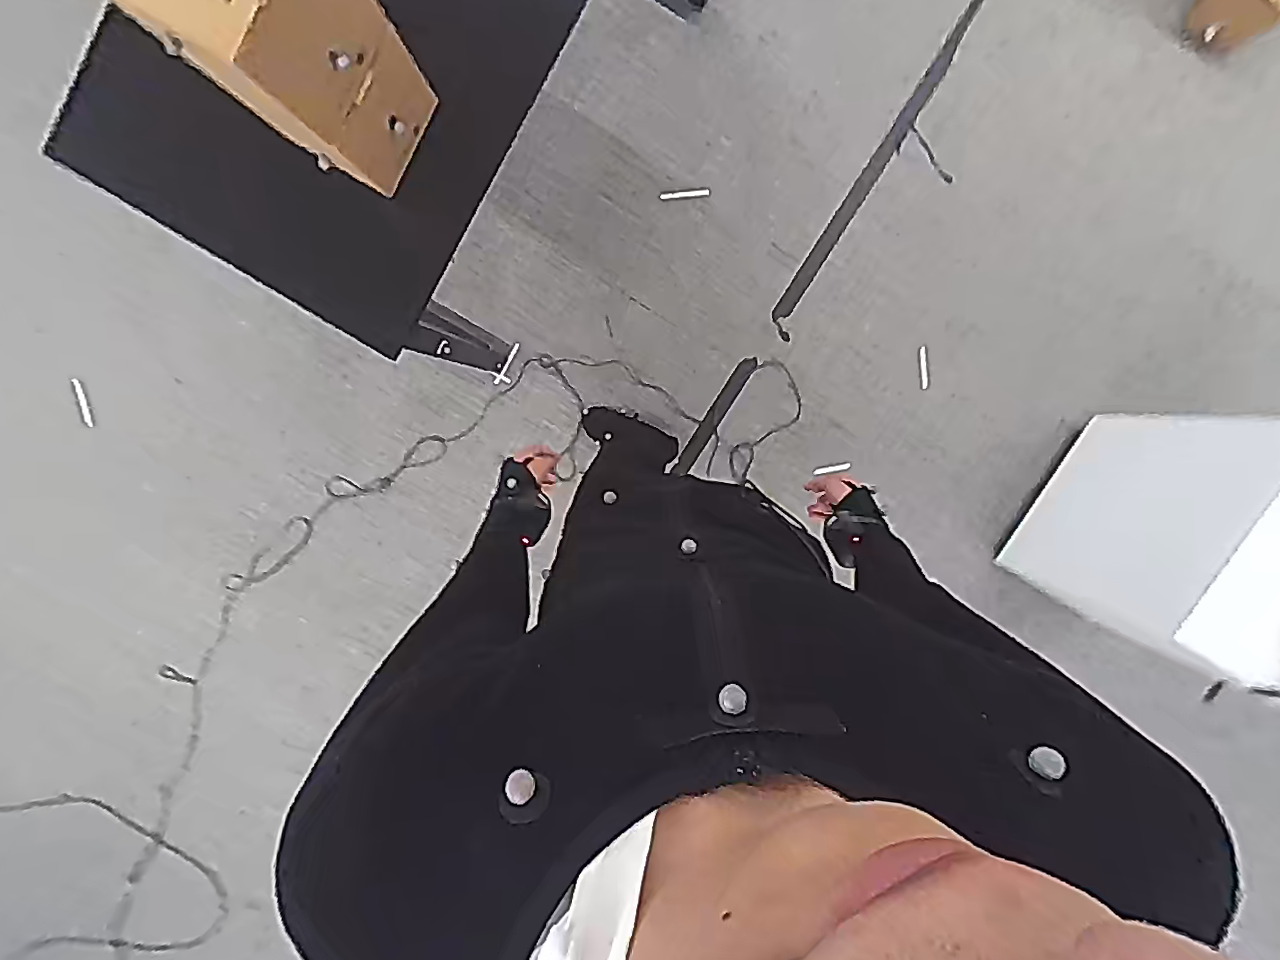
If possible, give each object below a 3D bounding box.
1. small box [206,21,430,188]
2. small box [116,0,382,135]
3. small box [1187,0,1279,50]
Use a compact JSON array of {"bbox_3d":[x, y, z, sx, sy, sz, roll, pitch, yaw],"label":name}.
[{"bbox_3d":[-0.419,-0.535,0.738,0.179,0.176,0.168,29,96,-4],"label":"small box"},{"bbox_3d":[-0.420,-0.515,0.574,0.179,0.176,0.168,29,97,-4],"label":"small box"},{"bbox_3d":[1.588,-1.274,1.388,0.168,0.176,0.179,29,97,-3],"label":"small box"}]
